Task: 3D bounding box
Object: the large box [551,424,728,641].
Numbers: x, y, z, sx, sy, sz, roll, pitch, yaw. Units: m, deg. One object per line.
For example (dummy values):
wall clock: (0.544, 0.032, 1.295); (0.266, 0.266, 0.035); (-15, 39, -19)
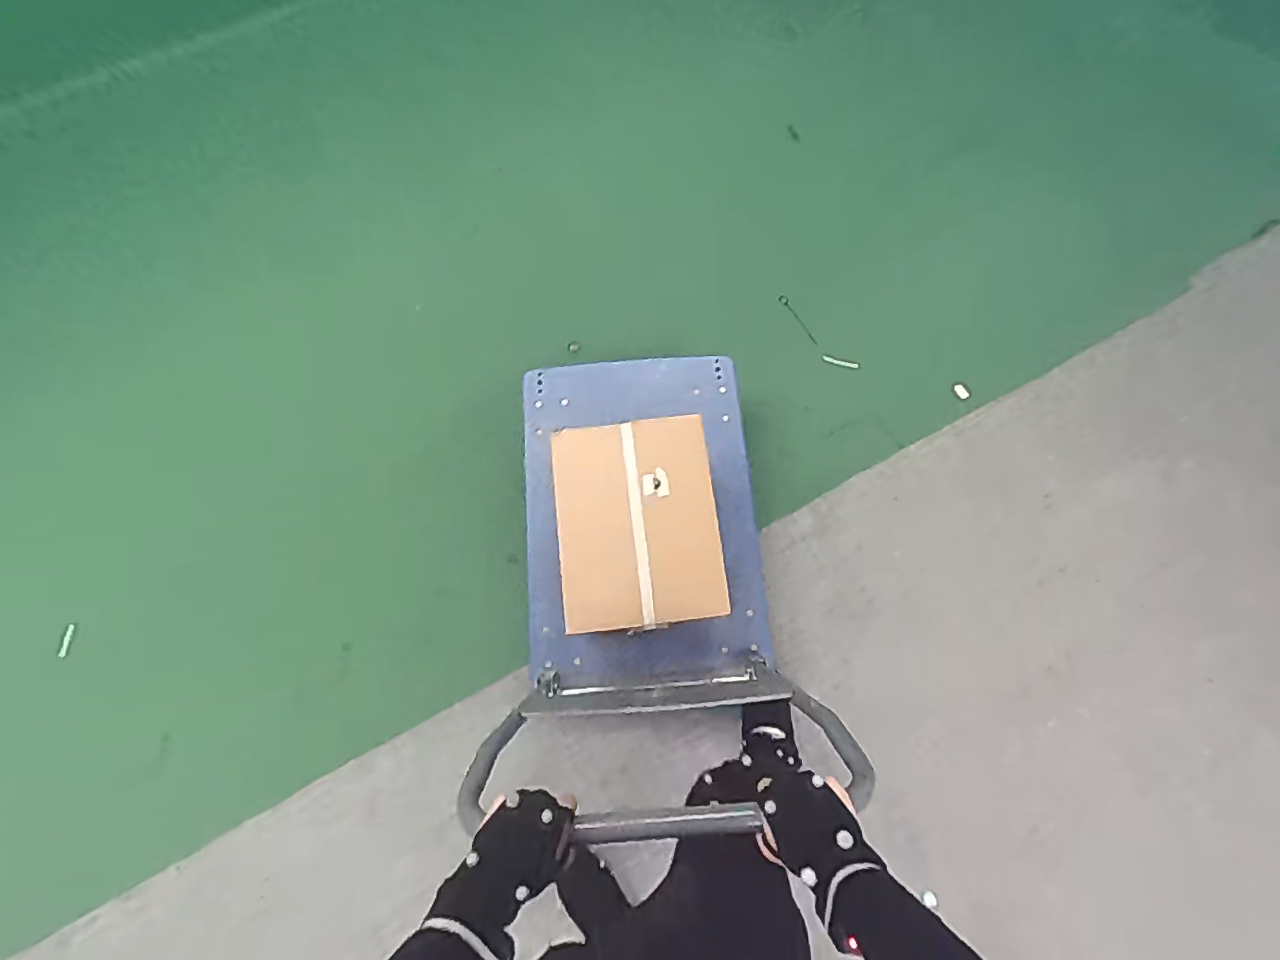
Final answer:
large box: (-0.003, 0.128, 1.204); (0.320, 0.320, 0.408); (-6, 76, -1)
